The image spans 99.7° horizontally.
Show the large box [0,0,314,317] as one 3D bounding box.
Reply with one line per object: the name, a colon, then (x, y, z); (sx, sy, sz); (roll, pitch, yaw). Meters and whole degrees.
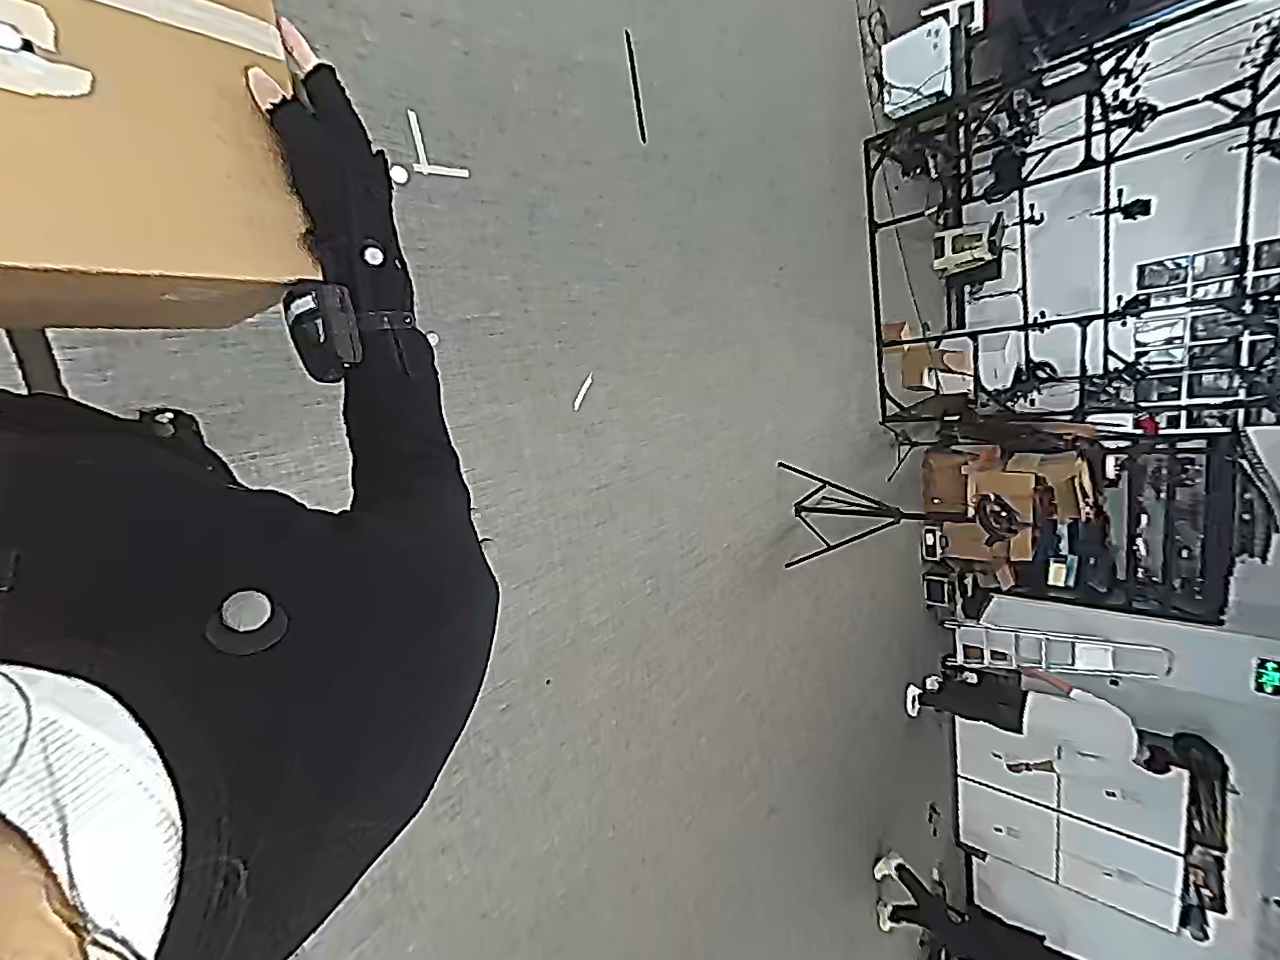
large box: (-0.505, -0.278, 0.339); (0.408, 0.320, 0.320); (-18, 109, -47)
